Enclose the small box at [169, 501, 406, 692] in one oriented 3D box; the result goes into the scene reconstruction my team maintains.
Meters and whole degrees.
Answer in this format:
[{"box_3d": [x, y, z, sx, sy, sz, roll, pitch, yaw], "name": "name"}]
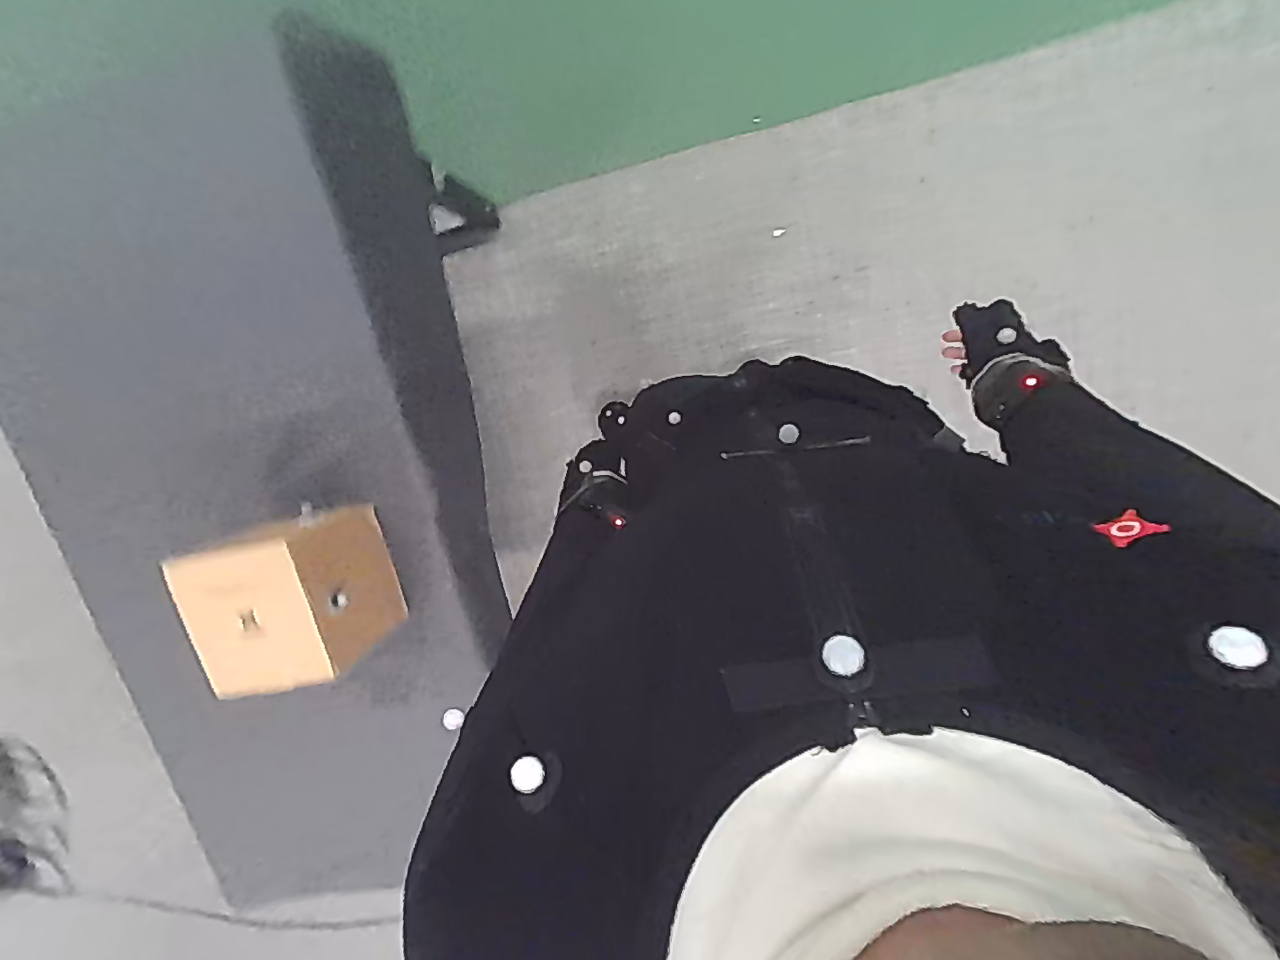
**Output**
[{"box_3d": [-0.437, 0.143, 0.704, 0.168, 0.176, 0.179, -12, 101, 9], "name": "small box"}]
